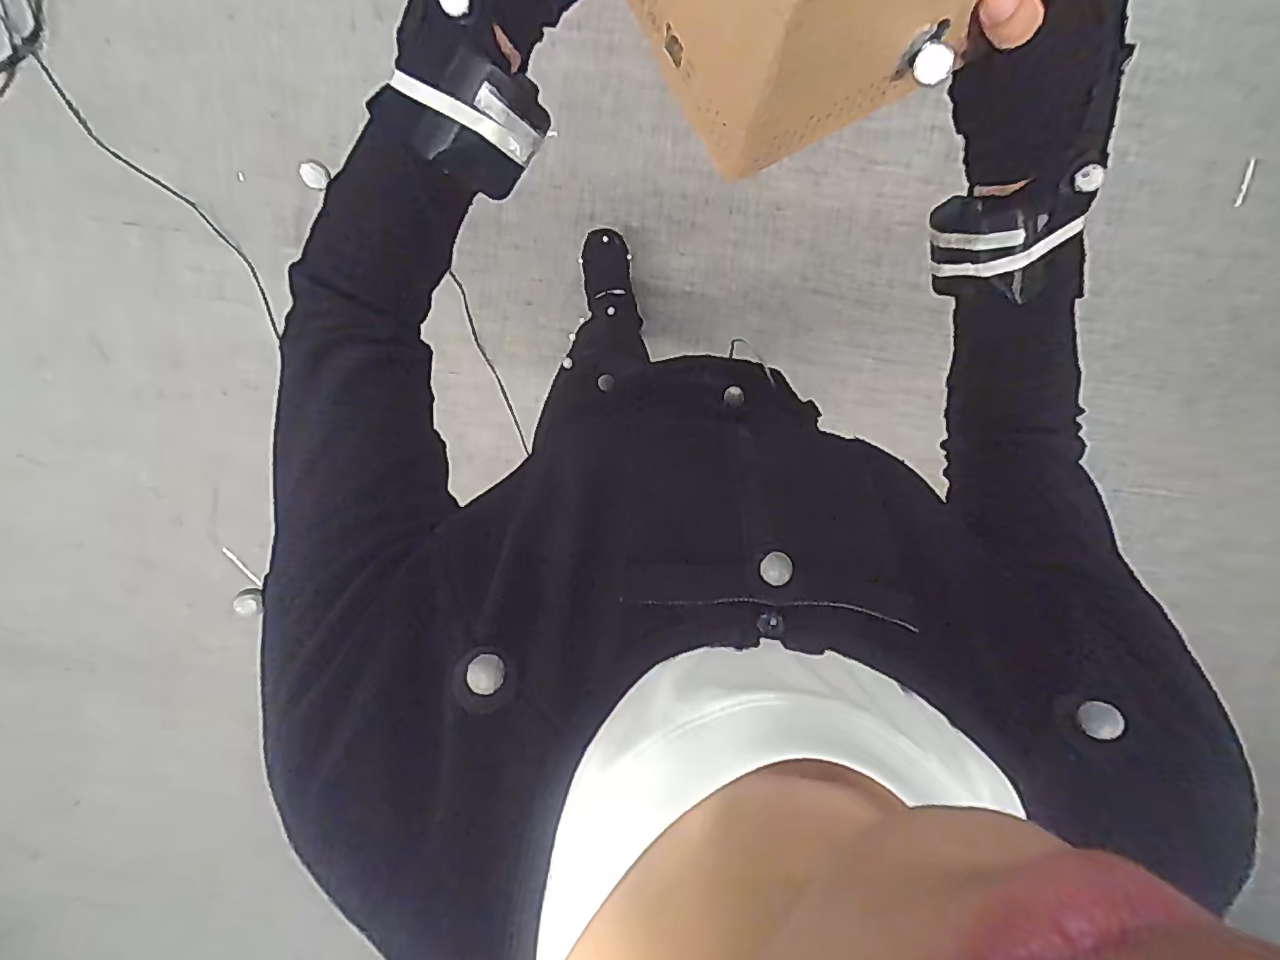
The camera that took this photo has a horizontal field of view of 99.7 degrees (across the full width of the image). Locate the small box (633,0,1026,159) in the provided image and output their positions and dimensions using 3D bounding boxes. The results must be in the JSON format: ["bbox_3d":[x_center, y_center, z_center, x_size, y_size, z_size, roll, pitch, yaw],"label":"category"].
[{"bbox_3d":[0.084,-0.260,0.184,0.179,0.176,0.168,-28,91,-3],"label":"small box"}]
